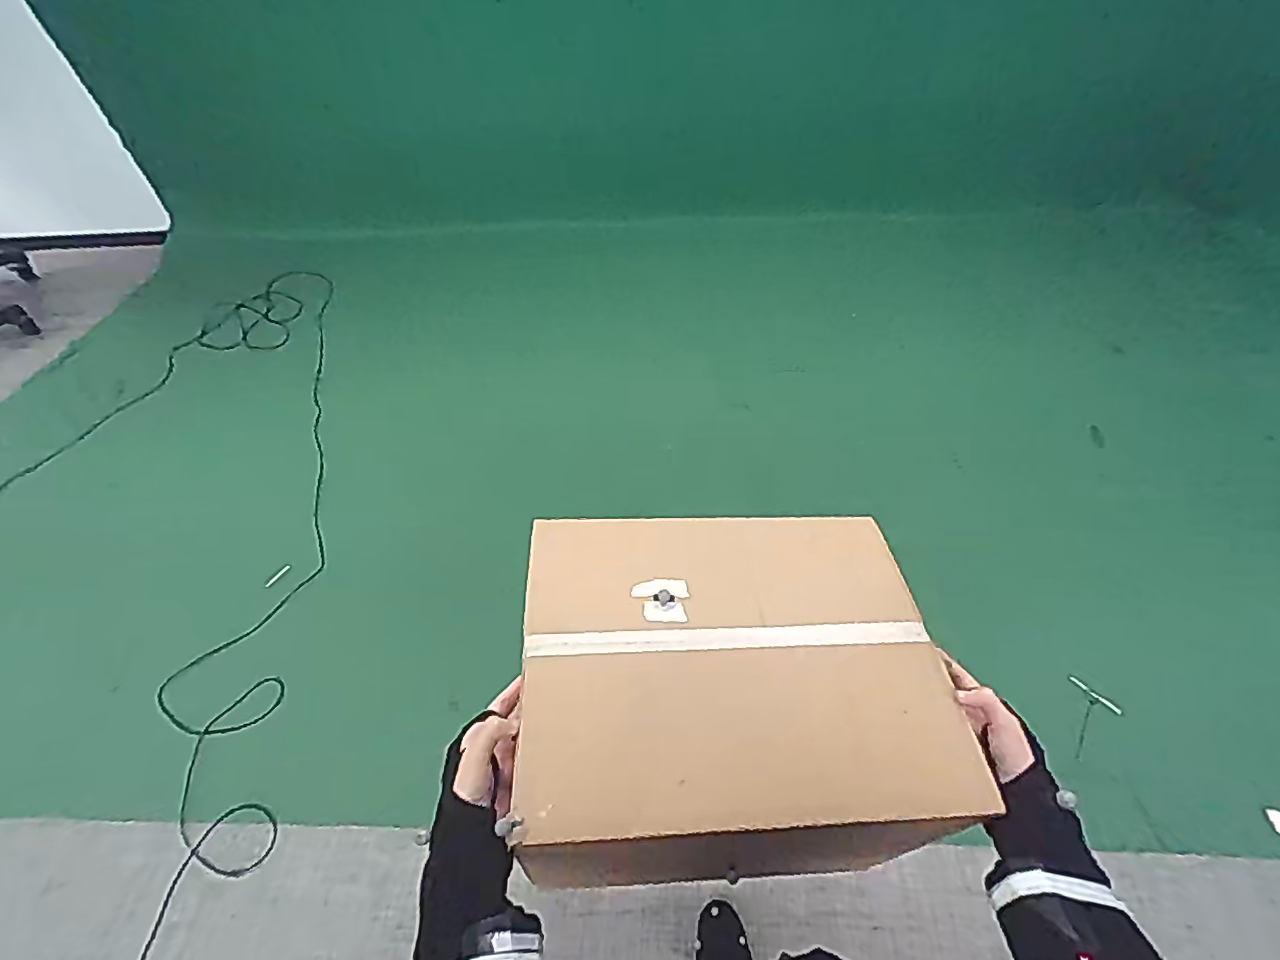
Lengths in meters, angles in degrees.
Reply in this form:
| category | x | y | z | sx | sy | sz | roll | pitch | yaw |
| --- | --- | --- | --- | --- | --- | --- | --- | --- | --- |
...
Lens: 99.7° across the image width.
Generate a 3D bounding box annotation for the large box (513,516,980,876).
| category | x | y | z | sx | sy | sz | roll | pitch | yaw |
| --- | --- | --- | --- | --- | --- | --- | --- | --- | --- |
| large box | 0.079 | 0.262 | 0.652 | 0.408 | 0.320 | 0.320 | -1 | 48 | -5 |
